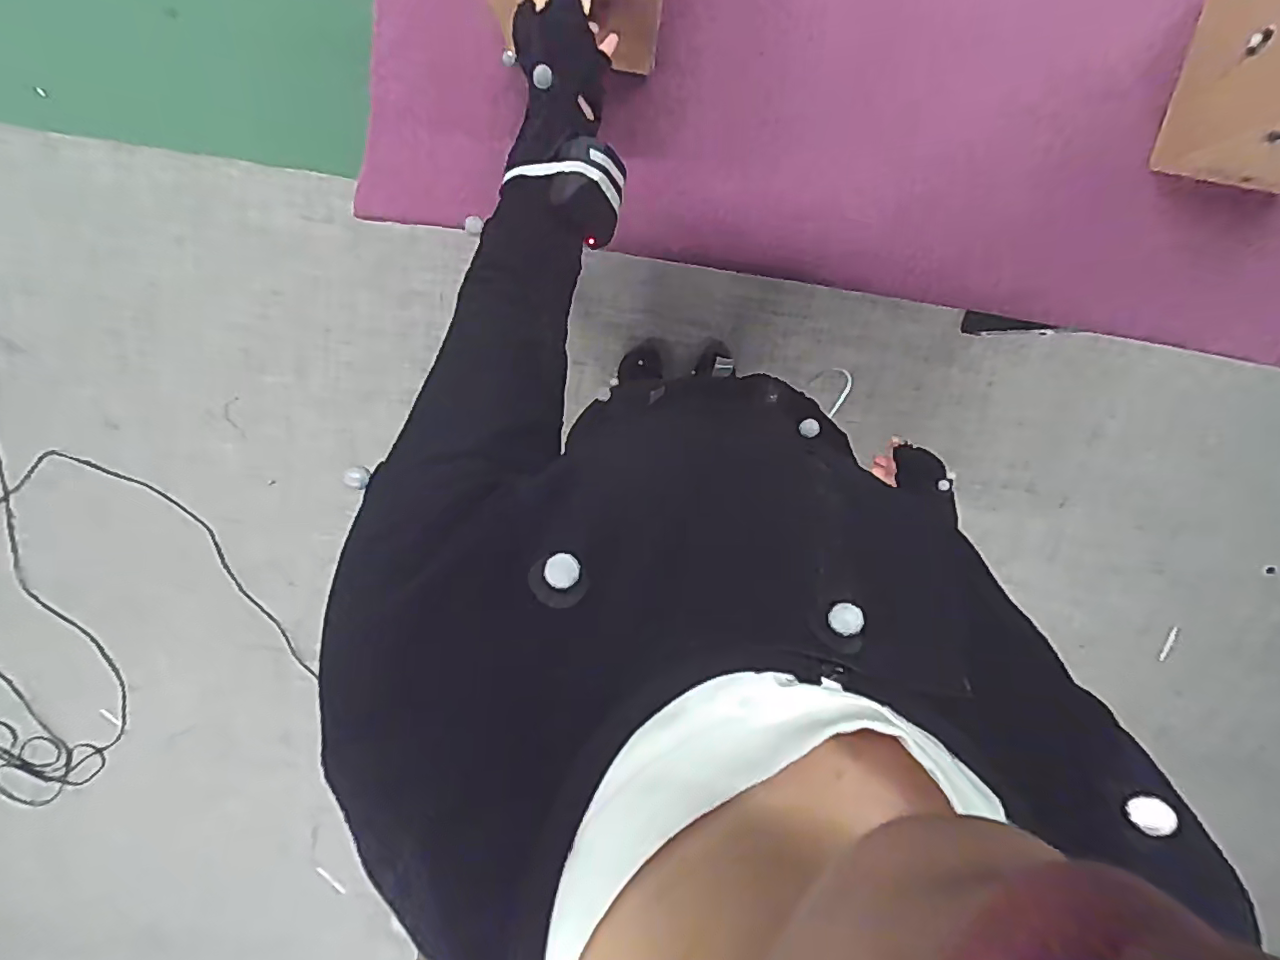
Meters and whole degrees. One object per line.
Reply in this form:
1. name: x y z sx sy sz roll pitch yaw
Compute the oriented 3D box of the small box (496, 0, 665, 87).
1. small box: -0.052 -0.526 0.522 0.168 0.176 0.179 7 105 -3
